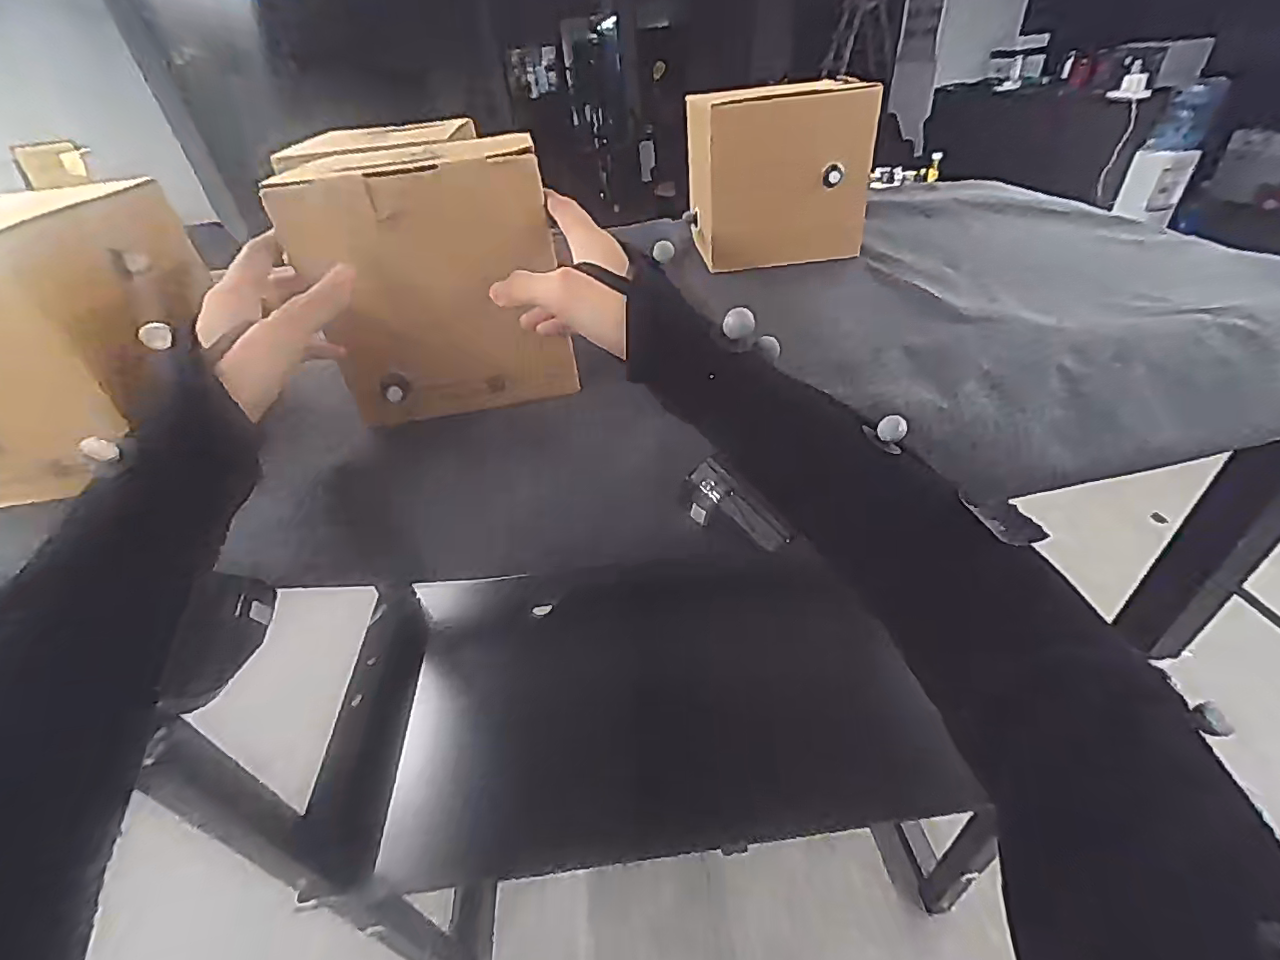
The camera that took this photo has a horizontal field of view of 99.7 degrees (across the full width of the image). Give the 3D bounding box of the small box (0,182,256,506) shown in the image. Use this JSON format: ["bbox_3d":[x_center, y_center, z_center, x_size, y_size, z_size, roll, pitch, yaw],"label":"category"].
[{"bbox_3d":[-0.424,-0.101,0.392,0.168,0.176,0.179,-10,39,-5],"label":"small box"}]

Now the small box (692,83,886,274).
[{"bbox_3d":[0.158,-0.358,0.641,0.179,0.176,0.168,-6,37,0],"label":"small box"}]

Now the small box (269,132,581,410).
[{"bbox_3d":[-0.146,-0.166,0.436,0.168,0.176,0.179,-10,36,-6],"label":"small box"}]
